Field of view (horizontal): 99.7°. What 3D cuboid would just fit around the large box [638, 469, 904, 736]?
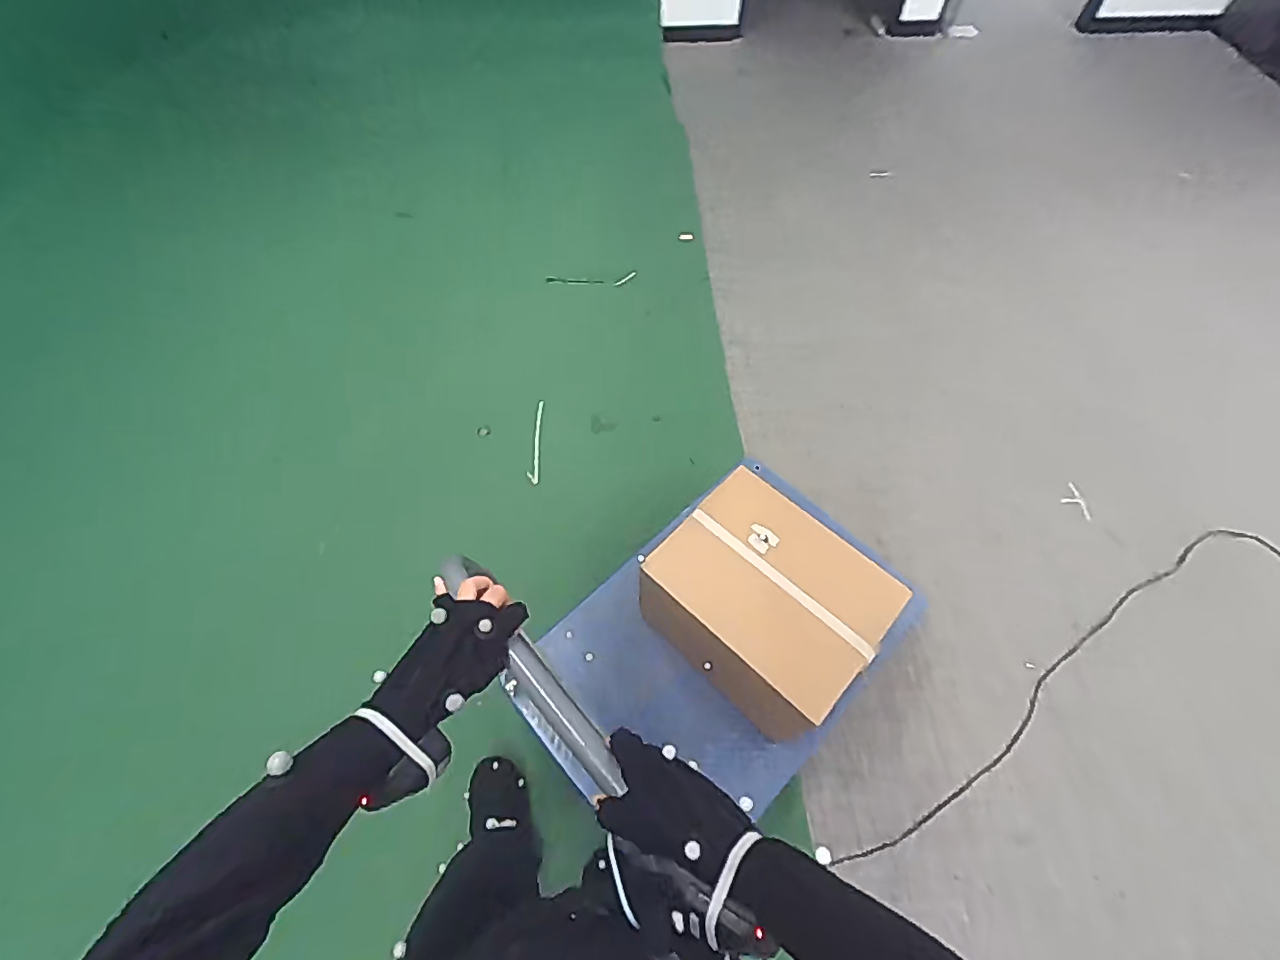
[{"bbox_3d":[0.246,0.261,1.136,0.408,0.320,0.320,39,66,21],"label":"large box"}]
